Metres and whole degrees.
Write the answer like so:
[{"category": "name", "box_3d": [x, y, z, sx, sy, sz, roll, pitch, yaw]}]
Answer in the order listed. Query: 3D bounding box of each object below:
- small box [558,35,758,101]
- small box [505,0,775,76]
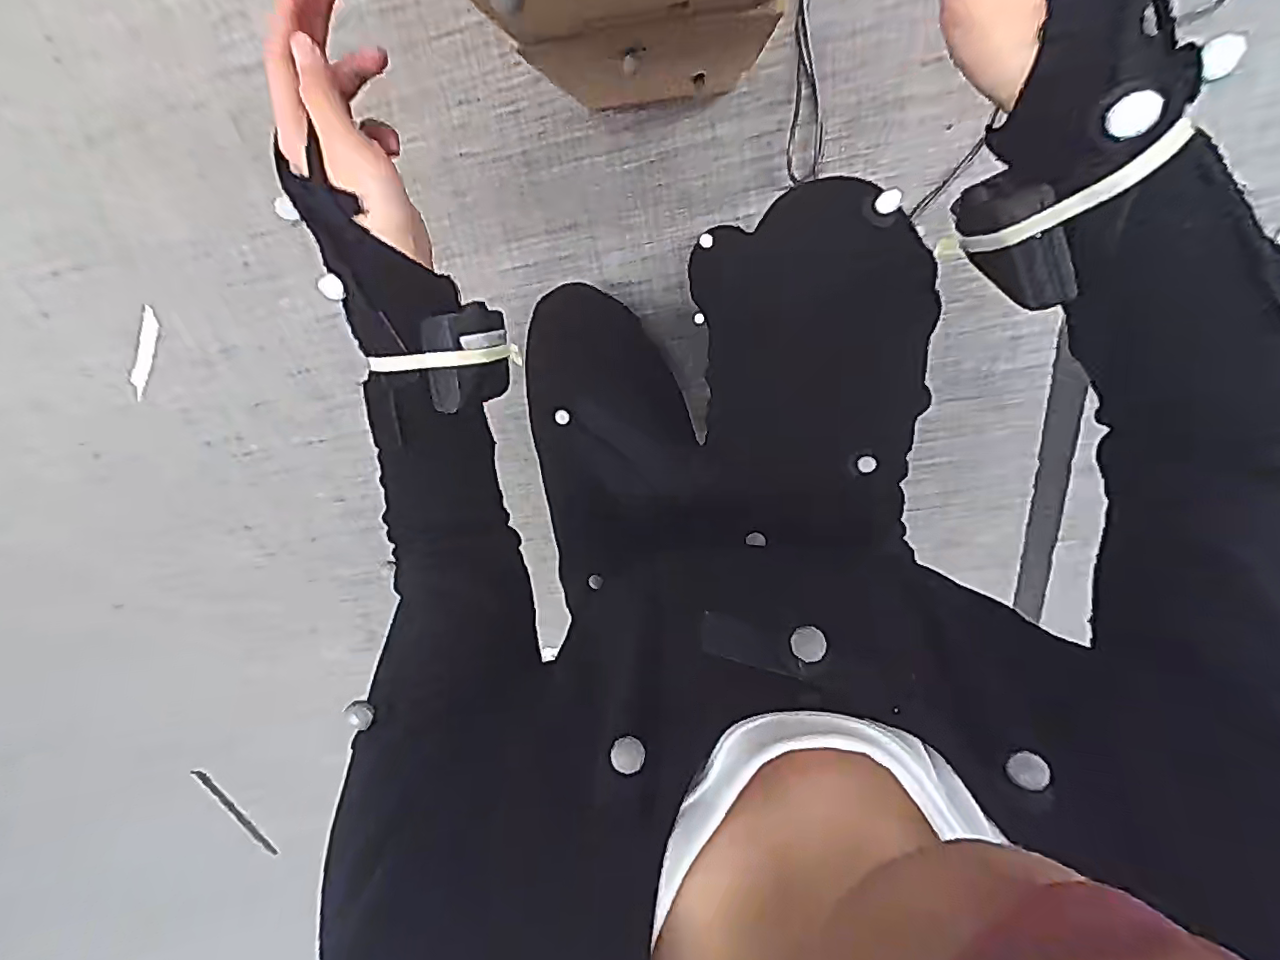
[{"category": "small box", "box_3d": [0.011, -0.472, 0.504, 0.179, 0.176, 0.168, -3, 117, 6]}, {"category": "small box", "box_3d": [0.003, -0.391, 0.361, 0.179, 0.176, 0.168, -3, 118, 5]}]
